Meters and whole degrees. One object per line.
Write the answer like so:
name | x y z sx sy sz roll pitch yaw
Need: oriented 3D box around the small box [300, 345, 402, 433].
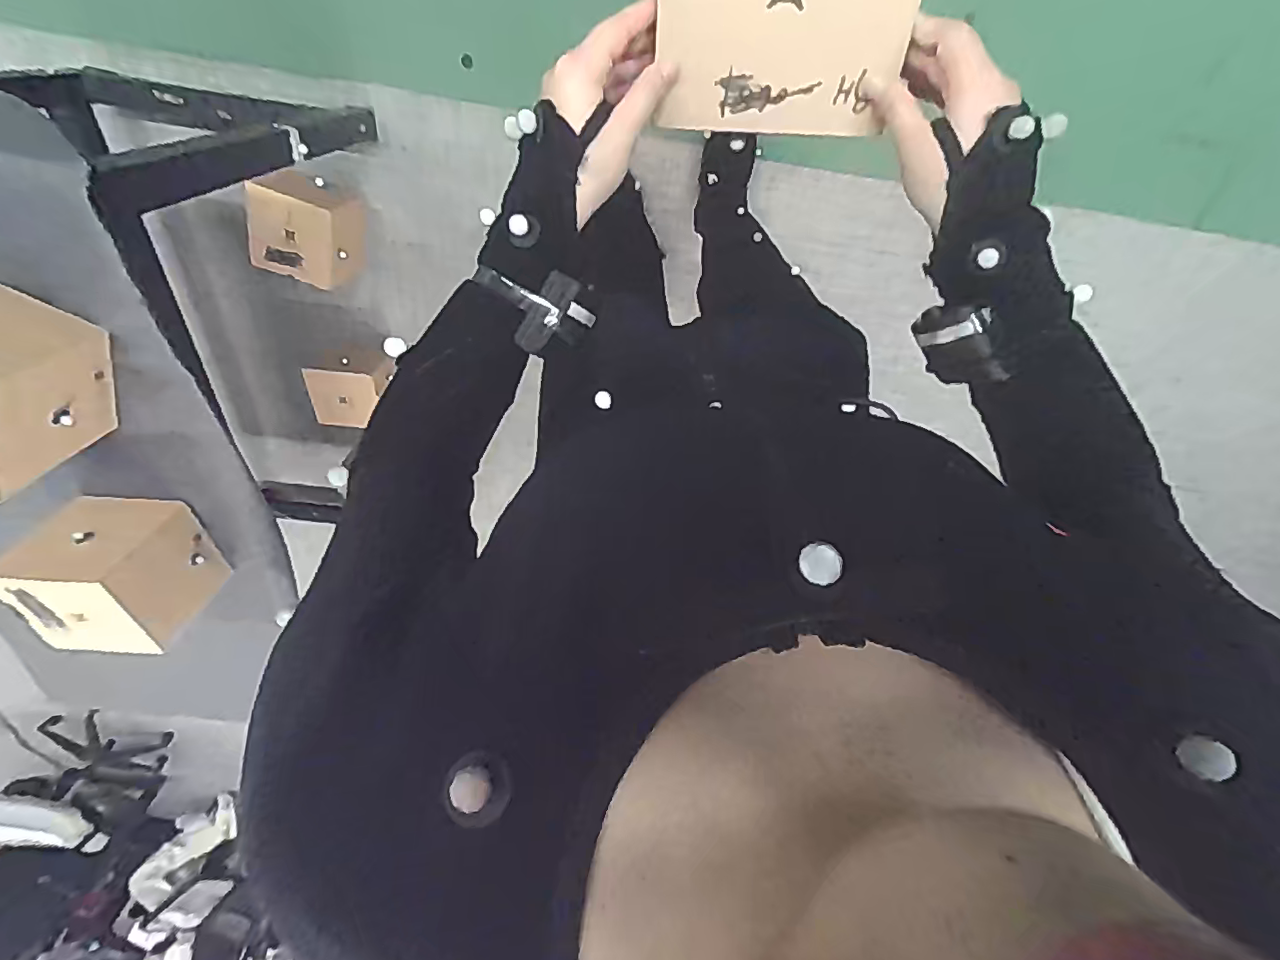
small box | -0.751 -0.244 1.433 0.179 0.176 0.168 6 128 -1

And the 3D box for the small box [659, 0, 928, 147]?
small box | 0.100 -0.360 0.391 0.168 0.176 0.179 3 132 1

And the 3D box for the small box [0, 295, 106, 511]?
small box | -0.758 -0.101 0.609 0.179 0.176 0.168 26 125 -14

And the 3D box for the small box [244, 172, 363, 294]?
small box | -0.731 -0.545 1.190 0.168 0.176 0.179 17 126 -12
